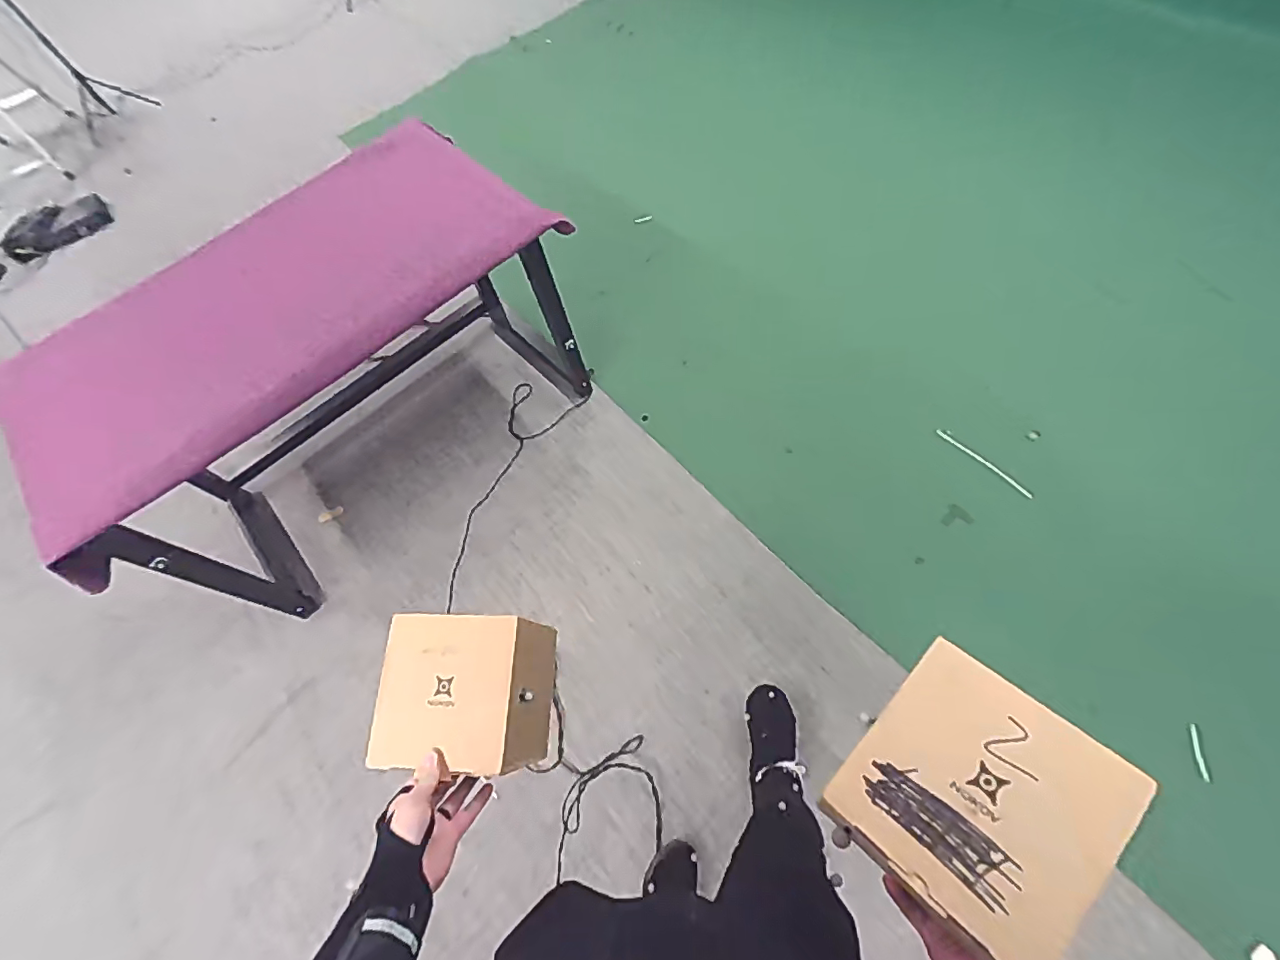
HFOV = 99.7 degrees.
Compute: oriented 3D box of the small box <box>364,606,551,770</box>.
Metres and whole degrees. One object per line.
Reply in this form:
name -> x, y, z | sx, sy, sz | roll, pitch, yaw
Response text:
small box -> -0.223, 0.266, 0.712 | 0.168, 0.176, 0.179 | 0, 70, 8
